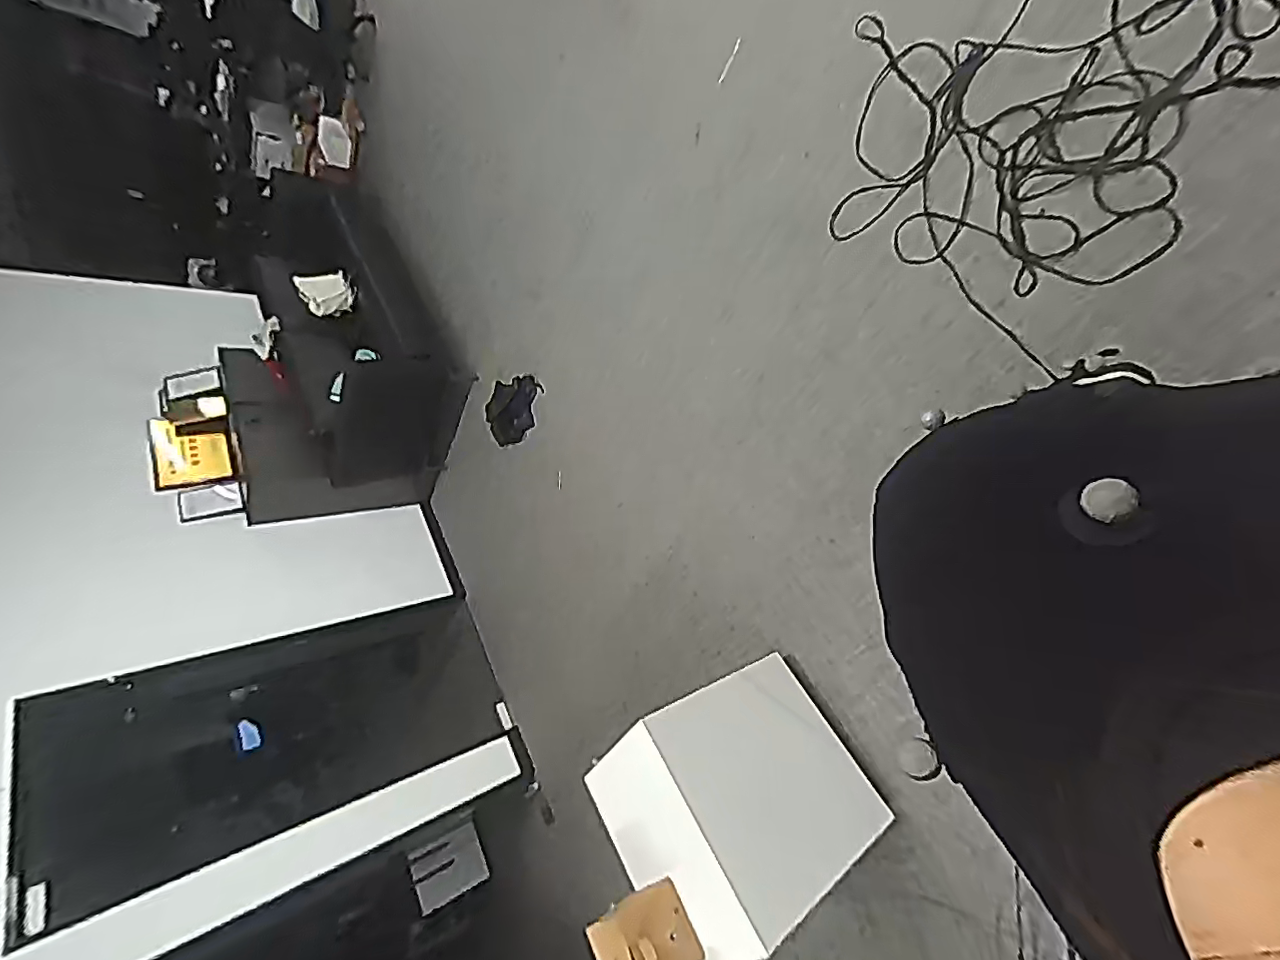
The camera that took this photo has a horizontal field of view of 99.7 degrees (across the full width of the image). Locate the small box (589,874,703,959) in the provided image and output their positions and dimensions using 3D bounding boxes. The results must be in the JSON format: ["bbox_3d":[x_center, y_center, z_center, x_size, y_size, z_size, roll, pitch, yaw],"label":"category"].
[{"bbox_3d":[0.014,1.060,1.255,0.168,0.176,0.179,58,134,28],"label":"small box"}]
